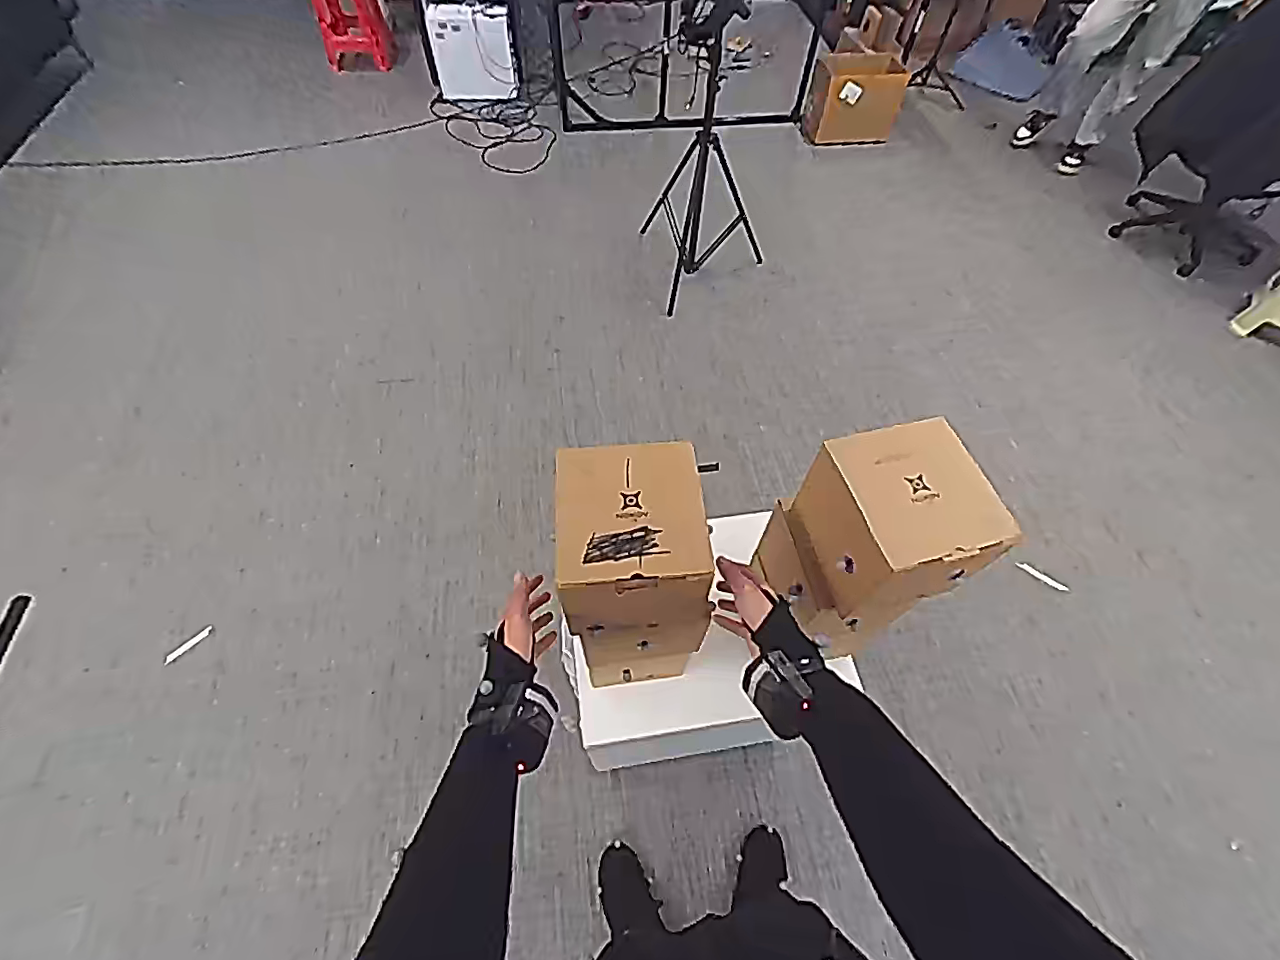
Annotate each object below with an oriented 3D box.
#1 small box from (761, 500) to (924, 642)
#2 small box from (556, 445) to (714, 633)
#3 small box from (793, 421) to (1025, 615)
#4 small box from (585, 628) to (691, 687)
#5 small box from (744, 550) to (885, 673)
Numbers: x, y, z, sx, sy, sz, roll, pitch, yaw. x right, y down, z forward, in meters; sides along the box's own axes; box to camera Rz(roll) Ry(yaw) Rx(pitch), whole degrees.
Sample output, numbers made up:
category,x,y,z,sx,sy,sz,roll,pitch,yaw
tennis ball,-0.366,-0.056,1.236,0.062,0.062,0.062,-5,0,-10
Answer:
category,x,y,z,sx,sy,sz,roll,pitch,yaw
small box,0.298,0.136,0.824,0.168,0.176,0.179,-8,58,-6
small box,-0.010,0.080,0.660,0.168,0.176,0.179,-3,57,-4
small box,0.317,0.057,0.682,0.168,0.176,0.179,-12,58,-9
small box,-0.011,0.251,0.941,0.168,0.176,0.179,-6,57,-6
small box,0.295,0.224,0.963,0.168,0.176,0.179,-9,58,-6
